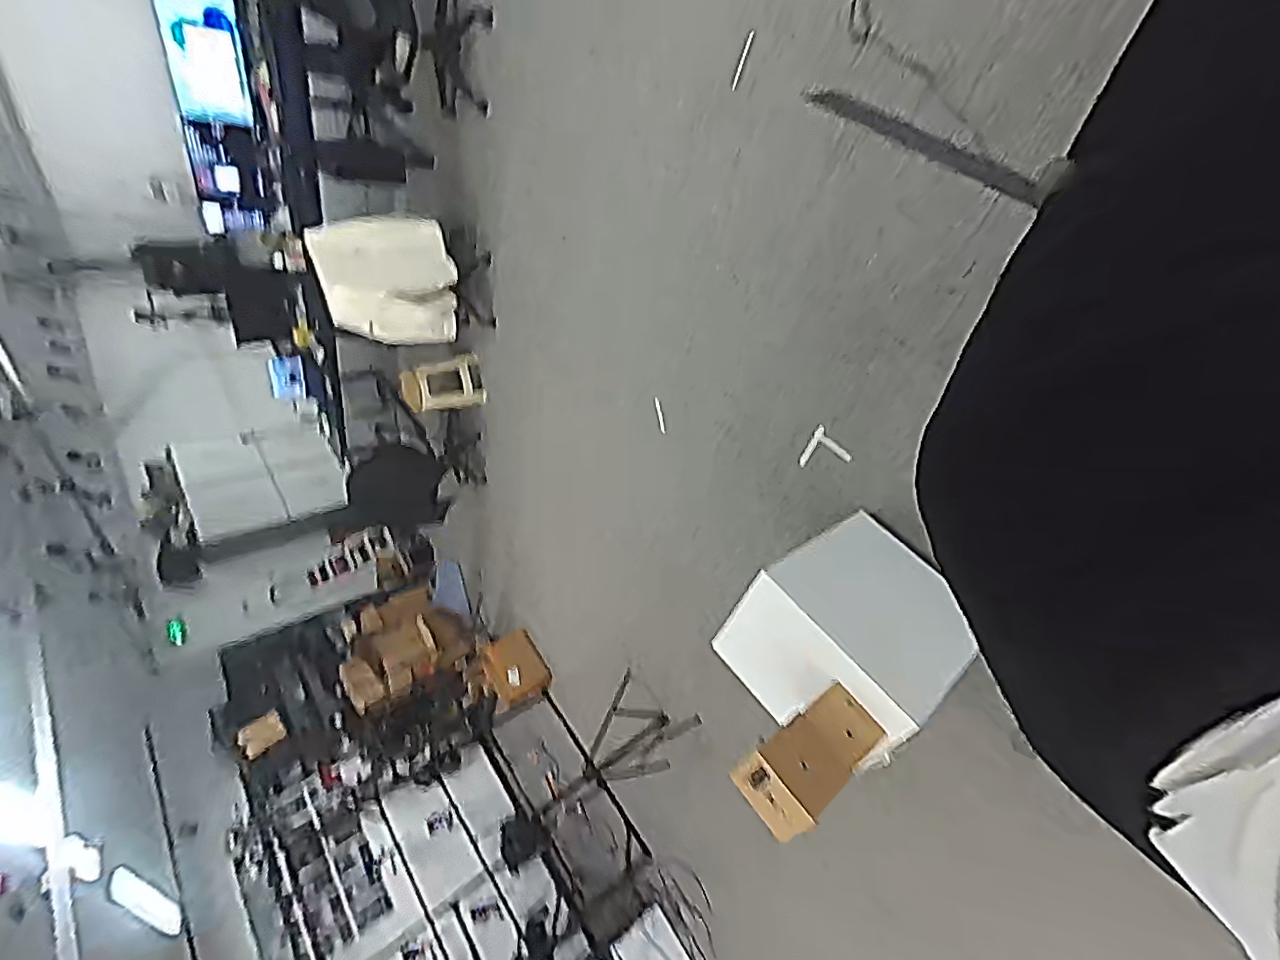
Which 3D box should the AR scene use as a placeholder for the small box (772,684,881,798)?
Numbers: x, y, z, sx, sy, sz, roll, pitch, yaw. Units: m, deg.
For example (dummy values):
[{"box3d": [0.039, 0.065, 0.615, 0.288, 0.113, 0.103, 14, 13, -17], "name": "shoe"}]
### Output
[{"box3d": [0.474, 0.650, 1.359, 0.168, 0.176, 0.179, 47, 137, 27], "name": "small box"}]
